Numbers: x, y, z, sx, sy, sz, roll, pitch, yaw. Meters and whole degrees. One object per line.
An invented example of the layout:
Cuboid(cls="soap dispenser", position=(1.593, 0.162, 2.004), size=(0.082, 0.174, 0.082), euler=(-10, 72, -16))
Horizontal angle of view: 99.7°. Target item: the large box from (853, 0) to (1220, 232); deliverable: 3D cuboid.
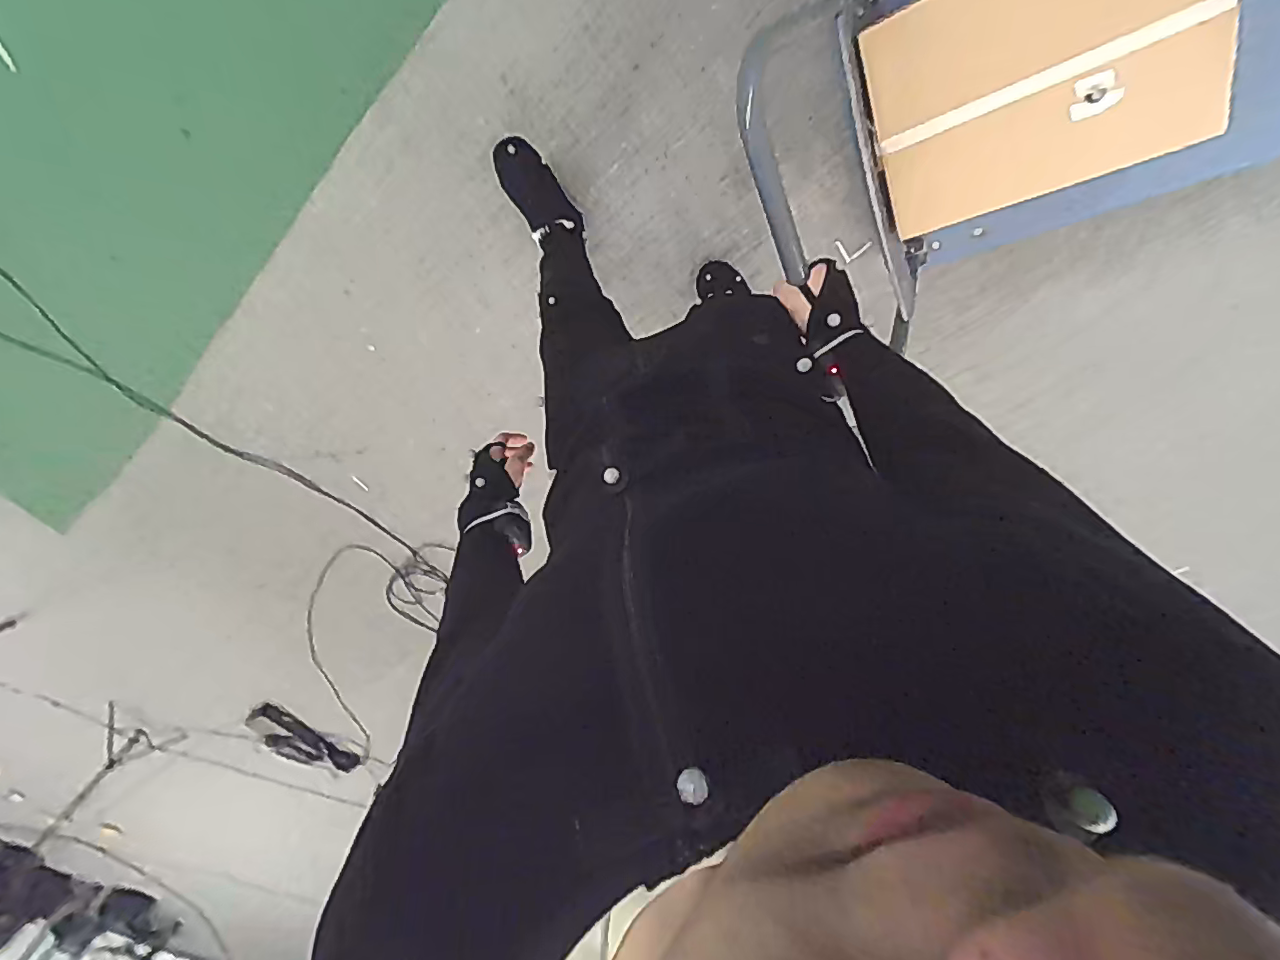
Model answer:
Cuboid(cls="large box", position=(0.594, -0.667, 0.870), size=(0.408, 0.320, 0.320), euler=(-9, 125, 32))
